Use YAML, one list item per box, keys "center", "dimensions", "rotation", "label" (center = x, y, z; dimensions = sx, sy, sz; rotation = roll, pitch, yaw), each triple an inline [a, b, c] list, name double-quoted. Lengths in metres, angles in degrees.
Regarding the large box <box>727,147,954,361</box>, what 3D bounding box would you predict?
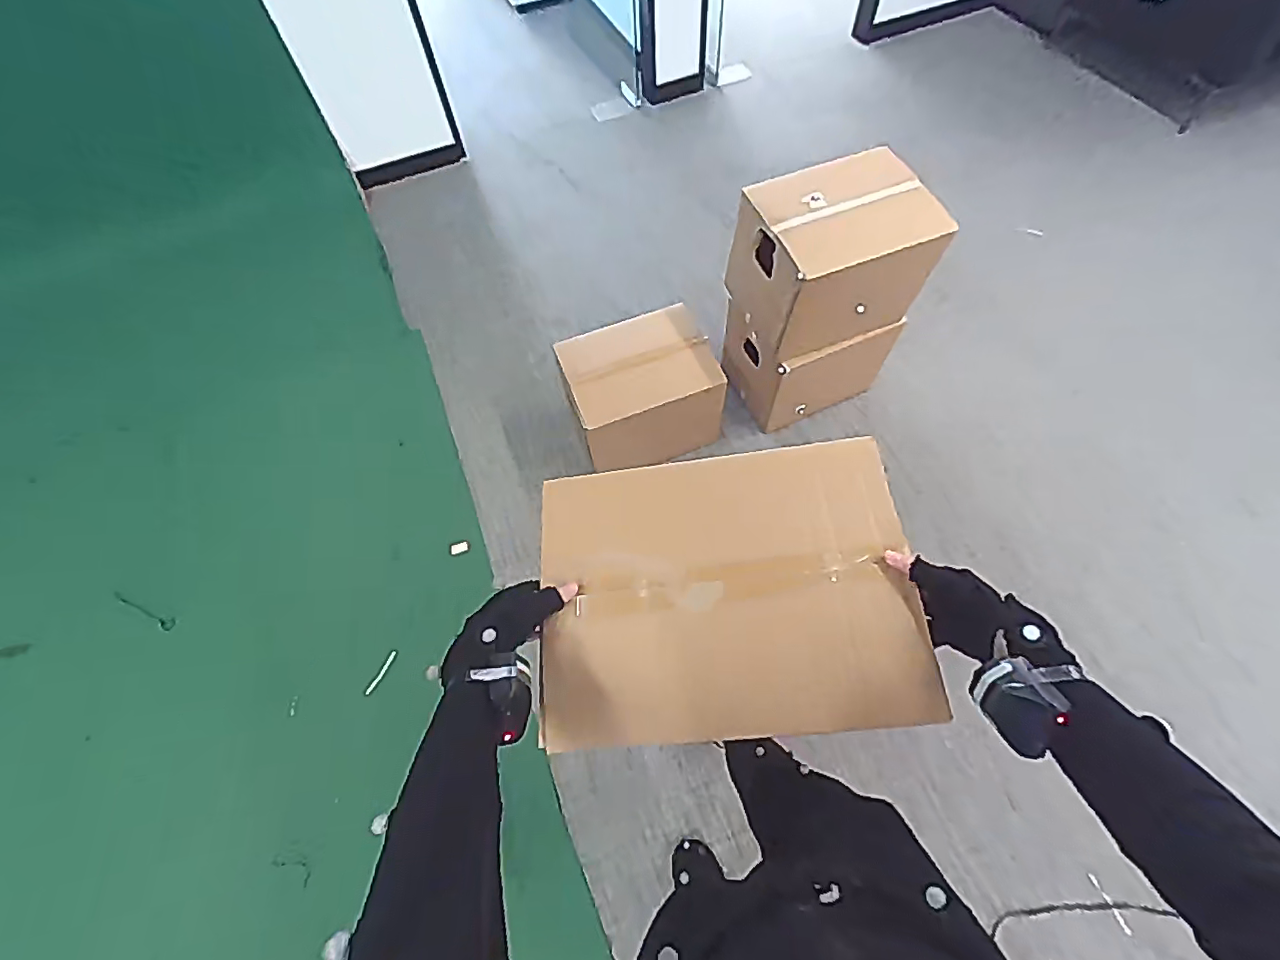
- center: [0.483, -0.569, 1.393]
  dimensions: [0.408, 0.320, 0.320]
  rotation: [-21, 67, -7]
  label: "large box"
